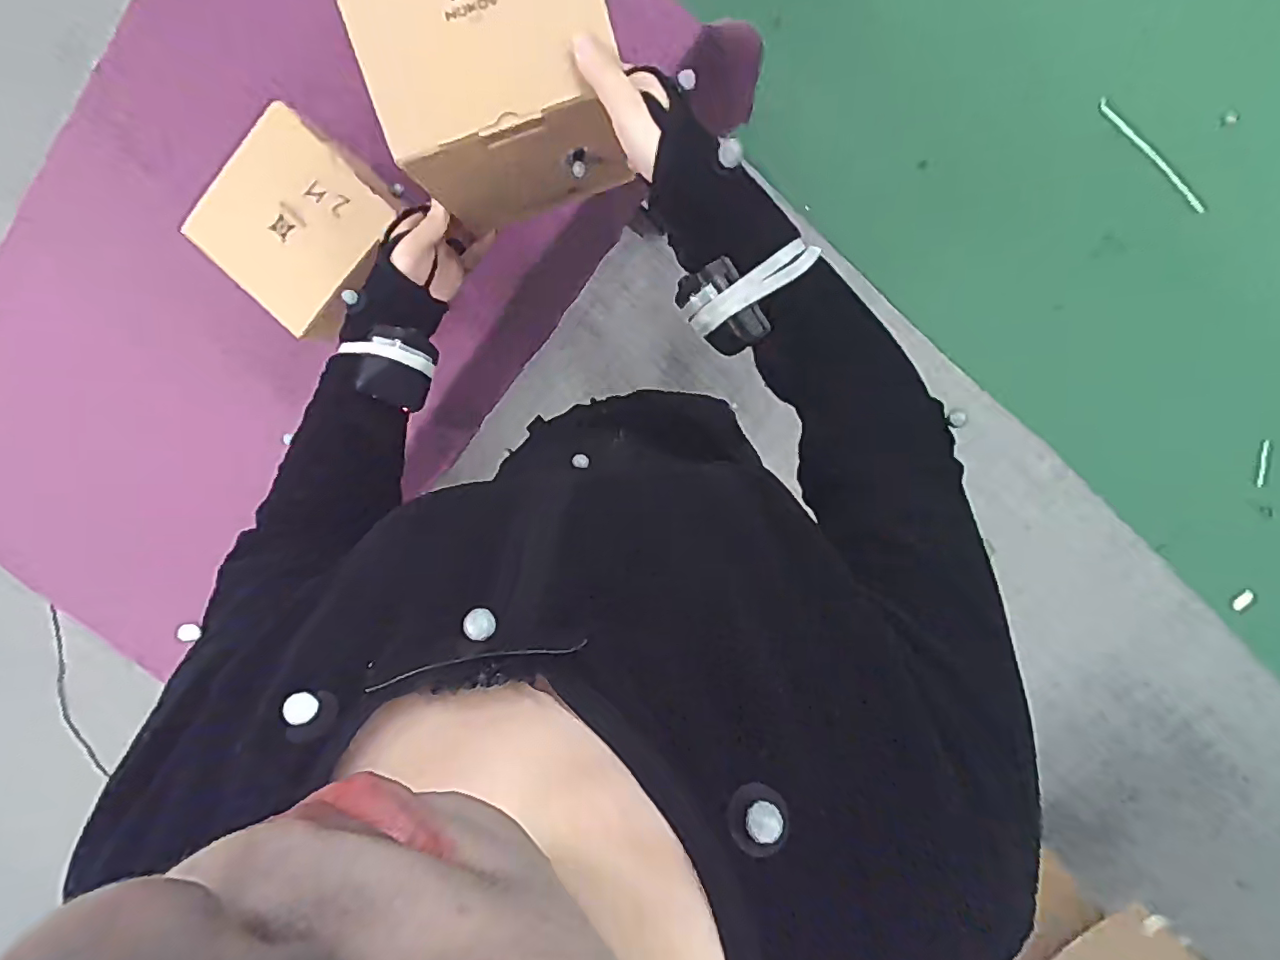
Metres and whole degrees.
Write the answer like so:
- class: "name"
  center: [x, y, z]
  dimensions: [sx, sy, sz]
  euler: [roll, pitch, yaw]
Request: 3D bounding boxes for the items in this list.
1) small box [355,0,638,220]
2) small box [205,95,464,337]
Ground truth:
- class: "small box"
  center: [-0.100, -0.329, 0.430]
  dimensions: [0.168, 0.176, 0.179]
  euler: [-15, 98, 4]
- class: "small box"
  center: [-0.348, -0.294, 0.652]
  dimensions: [0.179, 0.176, 0.168]
  euler: [-43, 94, 8]
